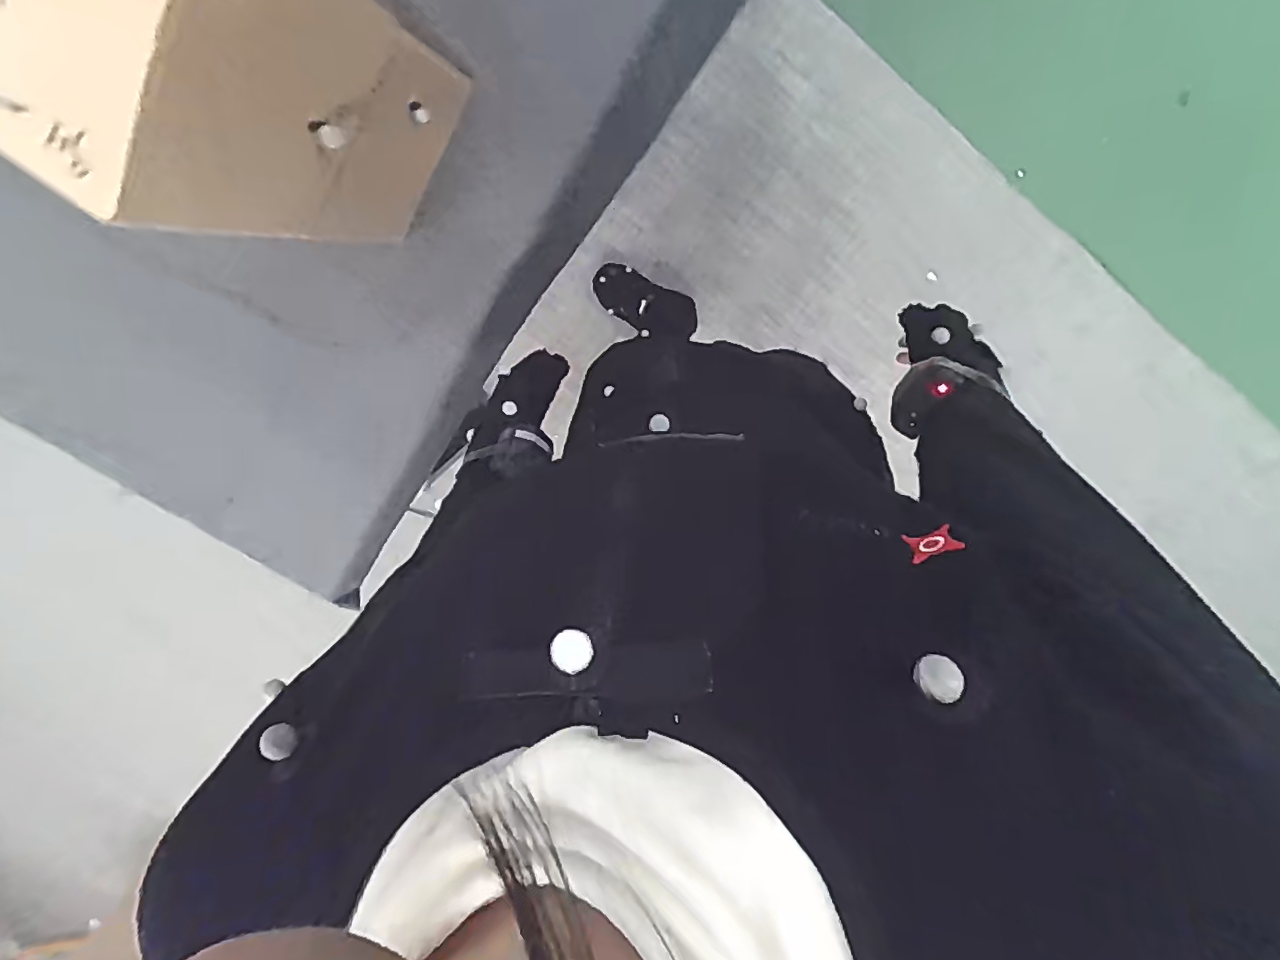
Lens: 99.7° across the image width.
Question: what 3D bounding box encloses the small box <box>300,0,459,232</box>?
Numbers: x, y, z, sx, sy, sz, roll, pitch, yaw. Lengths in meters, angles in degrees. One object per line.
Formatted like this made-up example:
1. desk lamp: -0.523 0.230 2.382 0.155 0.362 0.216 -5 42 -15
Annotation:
1. small box: -0.288 -0.349 0.484 0.168 0.176 0.179 34 113 -8

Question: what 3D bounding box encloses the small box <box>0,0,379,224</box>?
1. small box: -0.296 -0.287 0.332 0.168 0.176 0.179 36 111 -9
